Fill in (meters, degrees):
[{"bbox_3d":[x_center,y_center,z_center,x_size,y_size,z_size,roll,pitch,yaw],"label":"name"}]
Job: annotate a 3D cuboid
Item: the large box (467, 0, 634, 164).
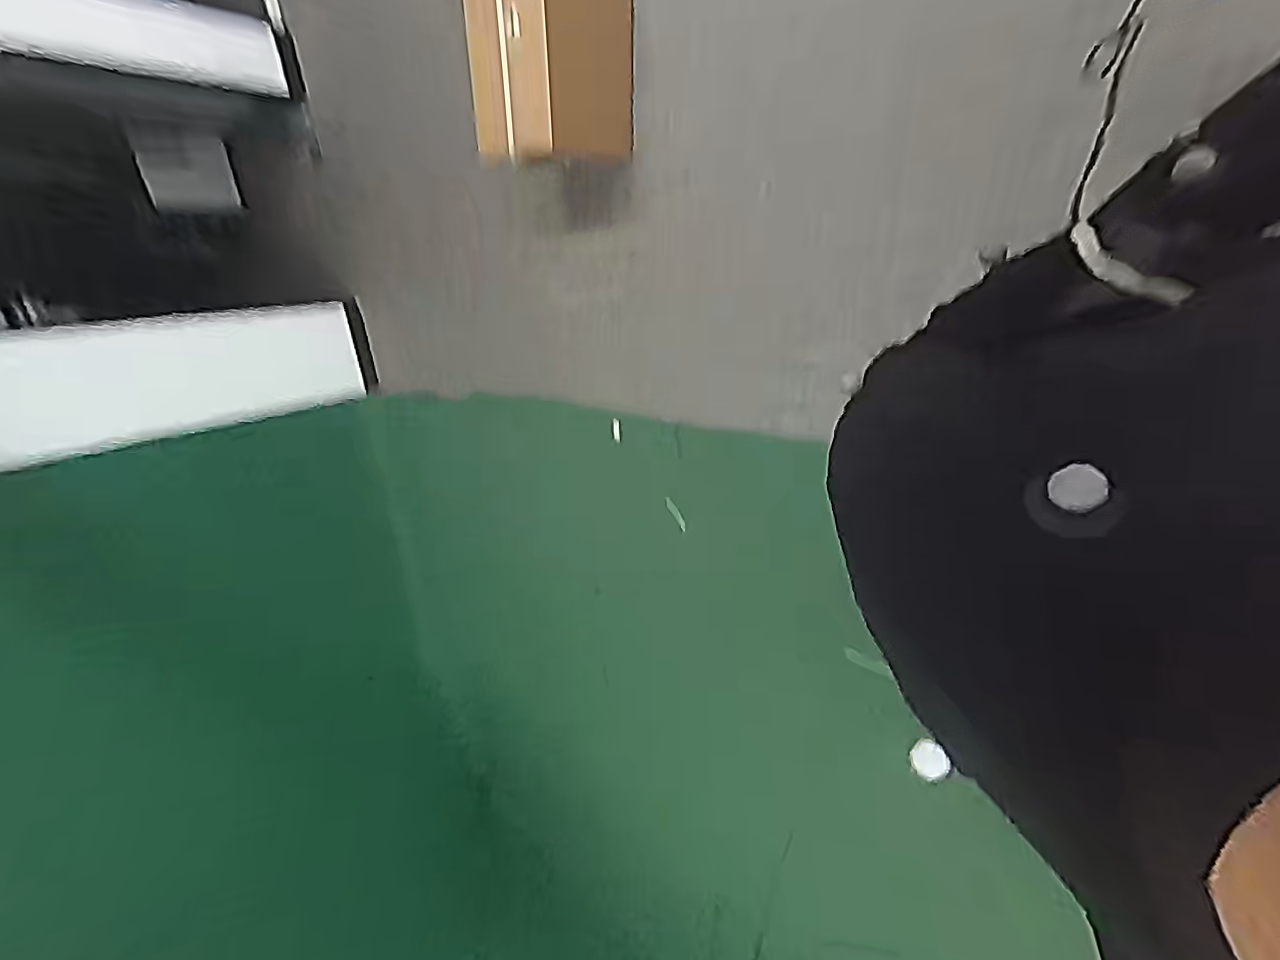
[{"bbox_3d":[-0.229,-1.105,1.447,0.320,0.320,0.408,19,120,36],"label":"large box"}]
